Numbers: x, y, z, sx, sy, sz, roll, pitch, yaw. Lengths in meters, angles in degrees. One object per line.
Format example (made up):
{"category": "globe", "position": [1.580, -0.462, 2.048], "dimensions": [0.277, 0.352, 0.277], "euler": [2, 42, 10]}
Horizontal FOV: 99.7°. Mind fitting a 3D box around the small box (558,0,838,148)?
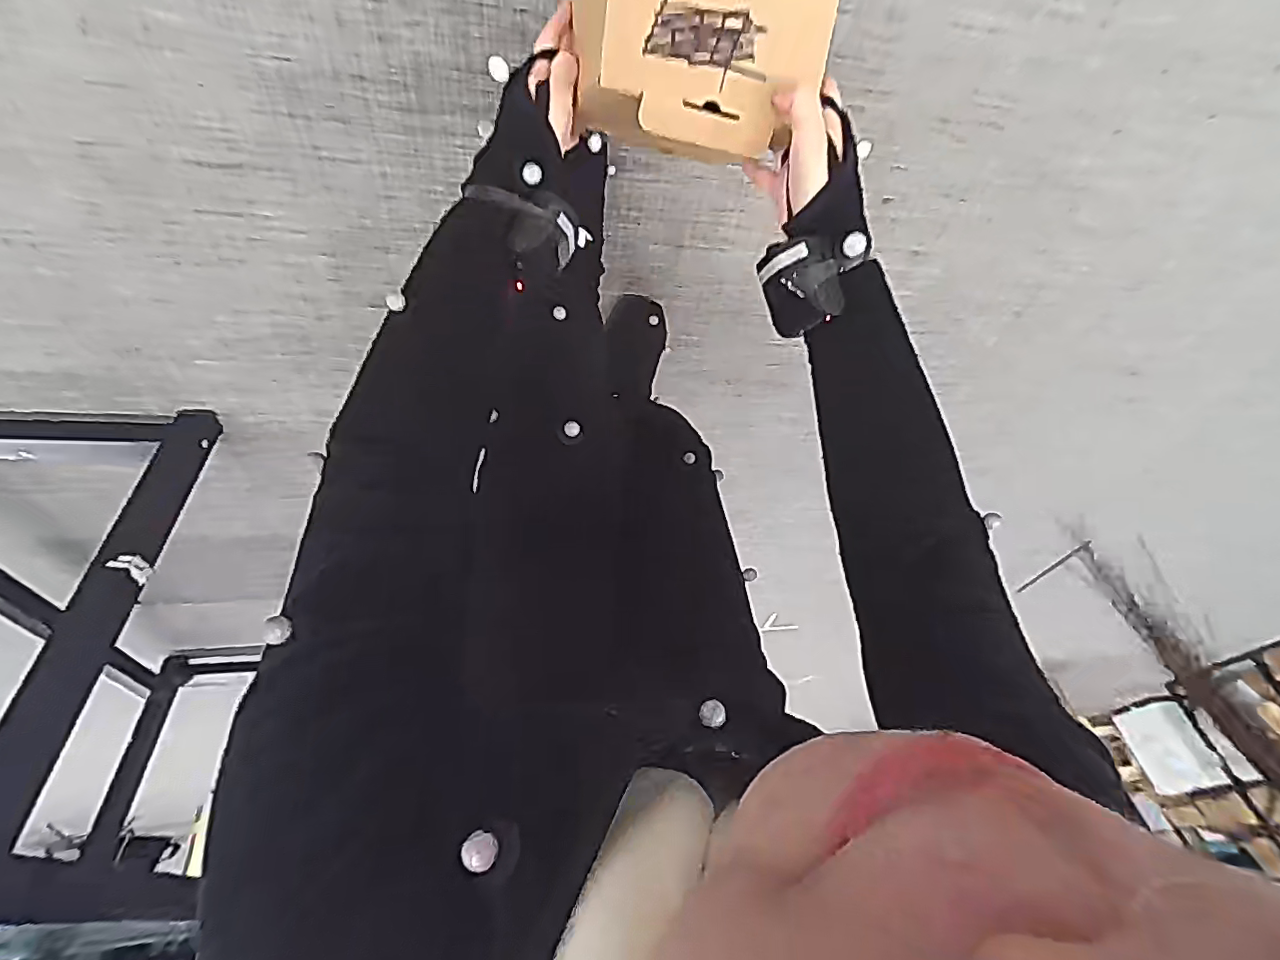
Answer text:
{"category": "small box", "position": [0.036, -0.373, 0.408], "dimensions": [0.168, 0.176, 0.179], "euler": [0, 111, -20]}
